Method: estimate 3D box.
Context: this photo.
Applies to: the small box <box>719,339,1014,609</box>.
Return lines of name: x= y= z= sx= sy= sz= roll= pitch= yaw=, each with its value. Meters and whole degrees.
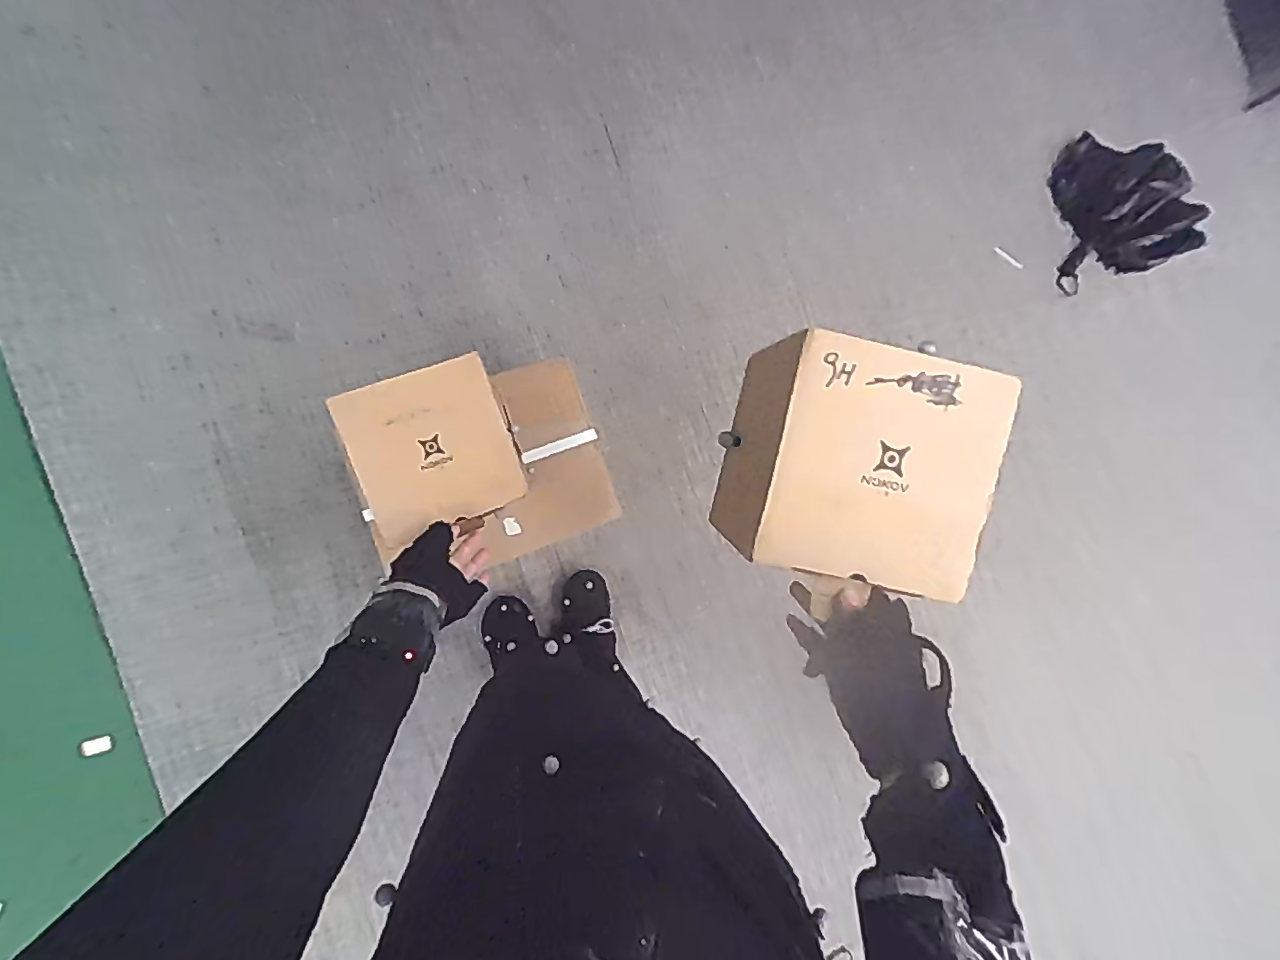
small box: x=0.177 y=-0.010 z=0.484 sx=0.168 sy=0.176 sz=0.179 roll=13 pitch=95 yaw=-5

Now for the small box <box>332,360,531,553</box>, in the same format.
small box: x=-0.242 y=-0.030 z=0.674 sx=0.168 sy=0.176 sz=0.179 roll=-21 pitch=95 yaw=-12
